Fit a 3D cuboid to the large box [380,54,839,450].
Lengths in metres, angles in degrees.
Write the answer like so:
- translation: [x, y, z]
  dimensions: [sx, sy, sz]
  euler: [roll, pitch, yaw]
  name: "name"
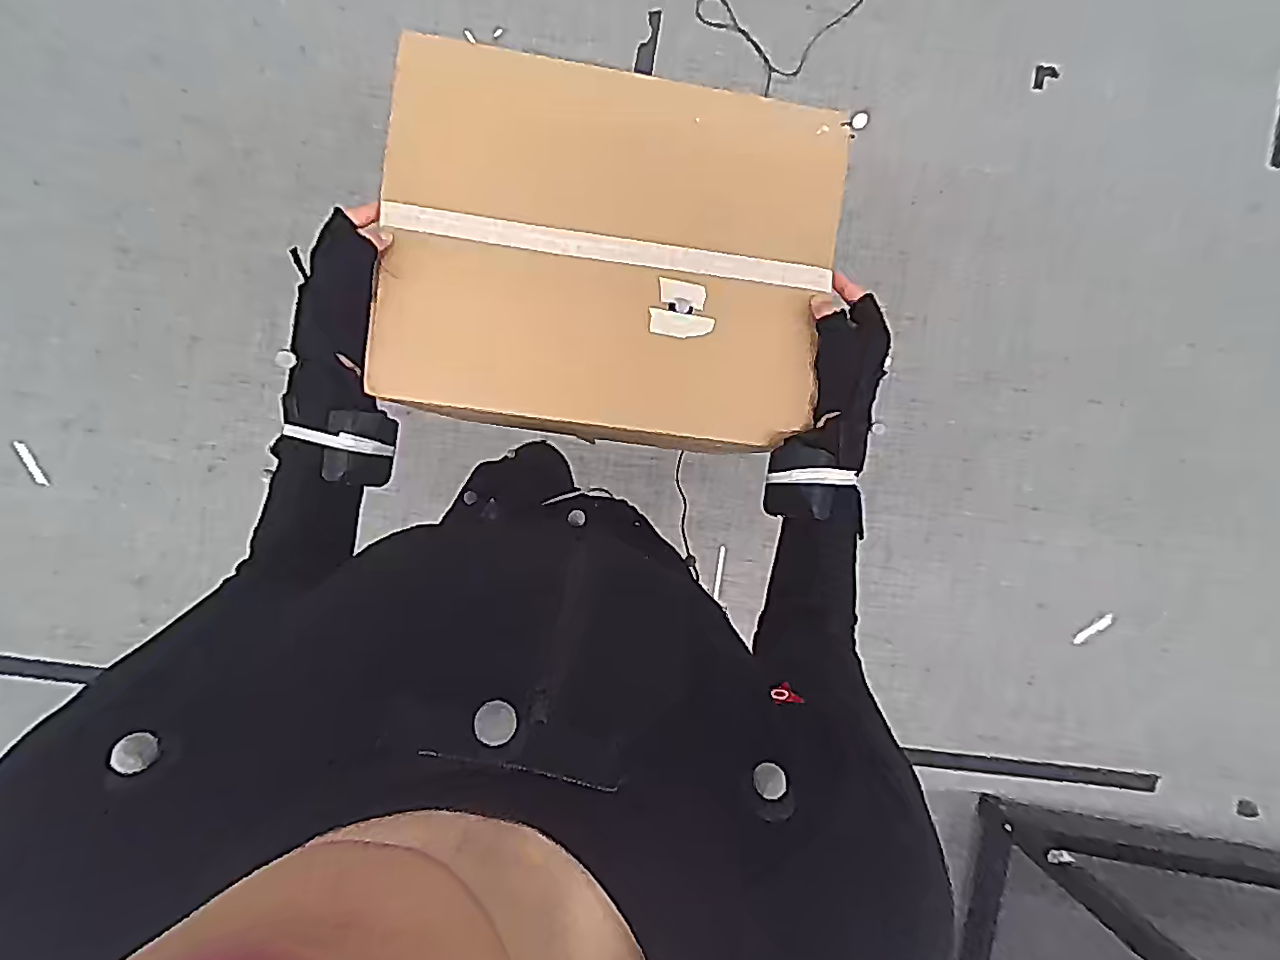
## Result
- translation: [-0.038, -0.210, 0.645]
  dimensions: [0.408, 0.320, 0.320]
  euler: [7, 93, -6]
  name: "large box"
